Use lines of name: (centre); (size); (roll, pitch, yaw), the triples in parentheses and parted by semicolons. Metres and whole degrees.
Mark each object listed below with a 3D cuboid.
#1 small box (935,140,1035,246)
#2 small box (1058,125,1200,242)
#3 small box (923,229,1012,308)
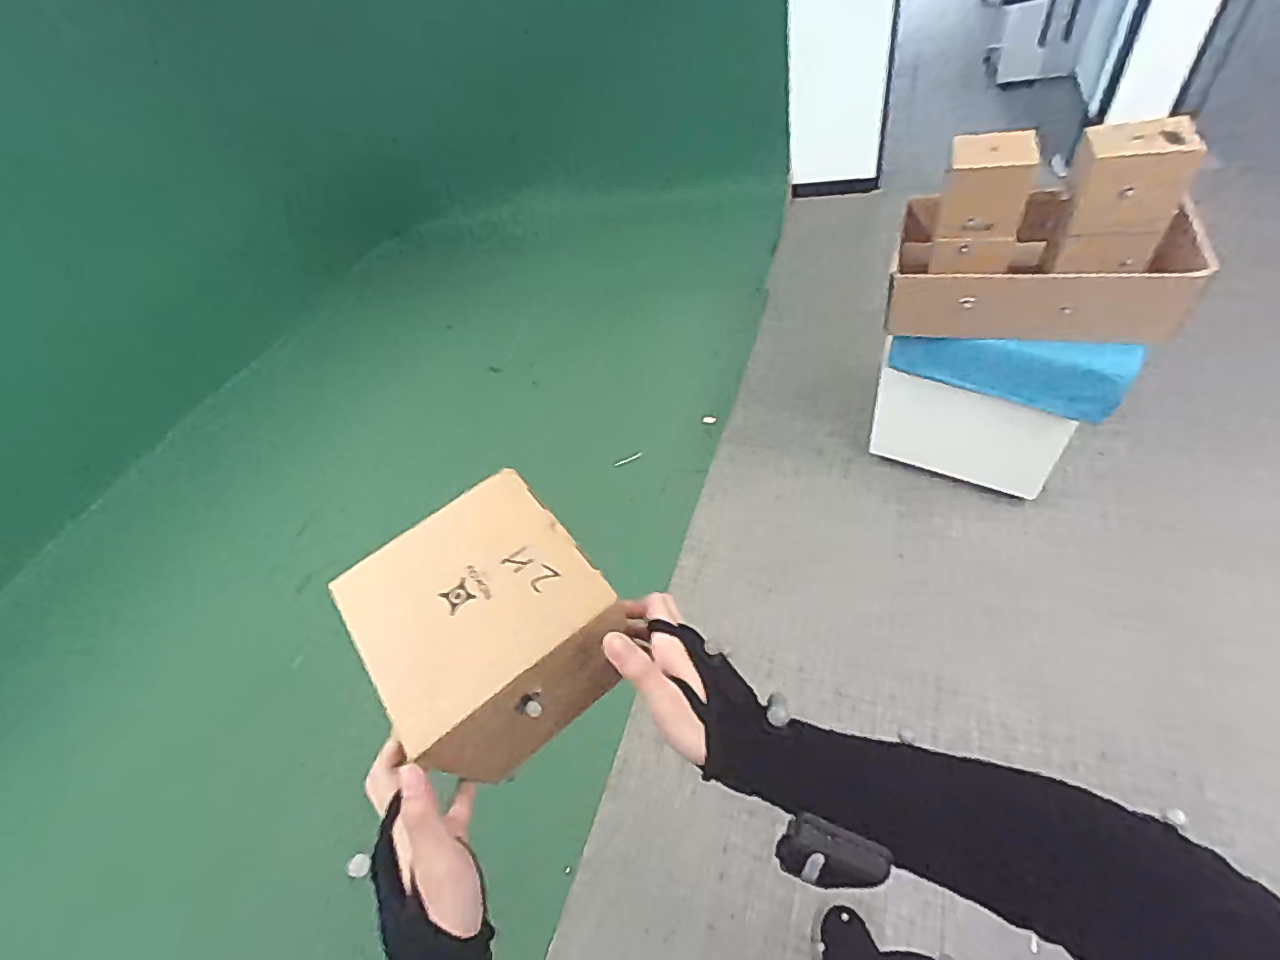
small box: (0.811, -0.680, 1.286); (0.168, 0.176, 0.179); (9, 53, 22)
small box: (1.052, -0.641, 1.181); (0.179, 0.176, 0.168); (7, 52, 23)
small box: (0.844, -0.571, 1.403); (0.168, 0.176, 0.179); (9, 52, 22)
